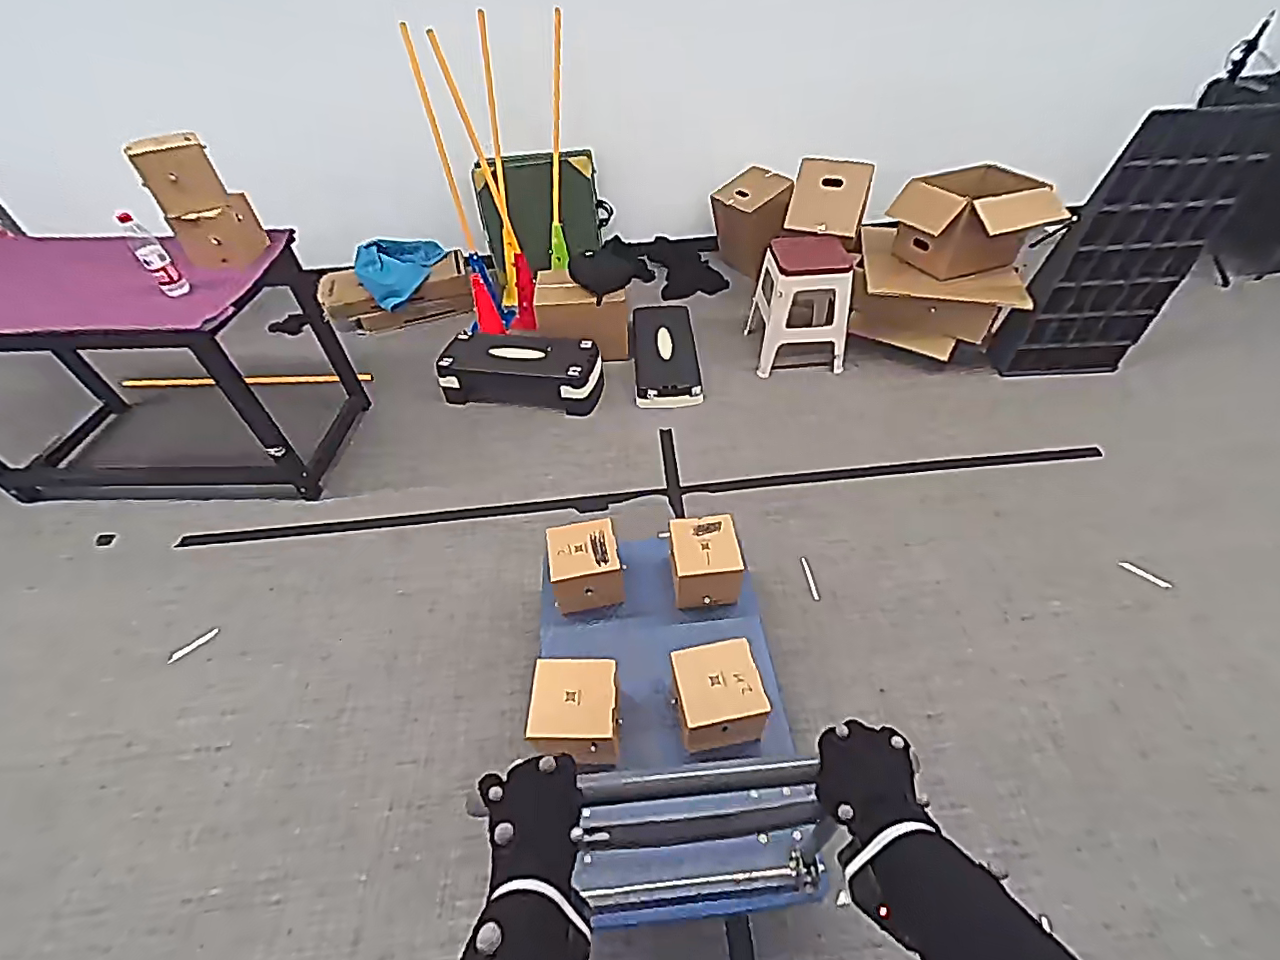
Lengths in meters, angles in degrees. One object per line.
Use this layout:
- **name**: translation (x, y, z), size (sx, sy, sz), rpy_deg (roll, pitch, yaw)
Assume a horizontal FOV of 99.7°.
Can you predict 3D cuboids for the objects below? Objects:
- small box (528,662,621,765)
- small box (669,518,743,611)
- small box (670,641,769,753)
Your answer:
- **small box**: translation (-0.136, 0.515, 1.188), size (0.179, 0.176, 0.168), rpy_deg (0, 46, 1)
- **small box**: translation (0.169, 0.226, 1.439), size (0.168, 0.176, 0.179), rpy_deg (-6, 48, -2)
- **small box**: translation (0.170, 0.484, 1.199), size (0.179, 0.176, 0.168), rpy_deg (-10, 48, -5)
